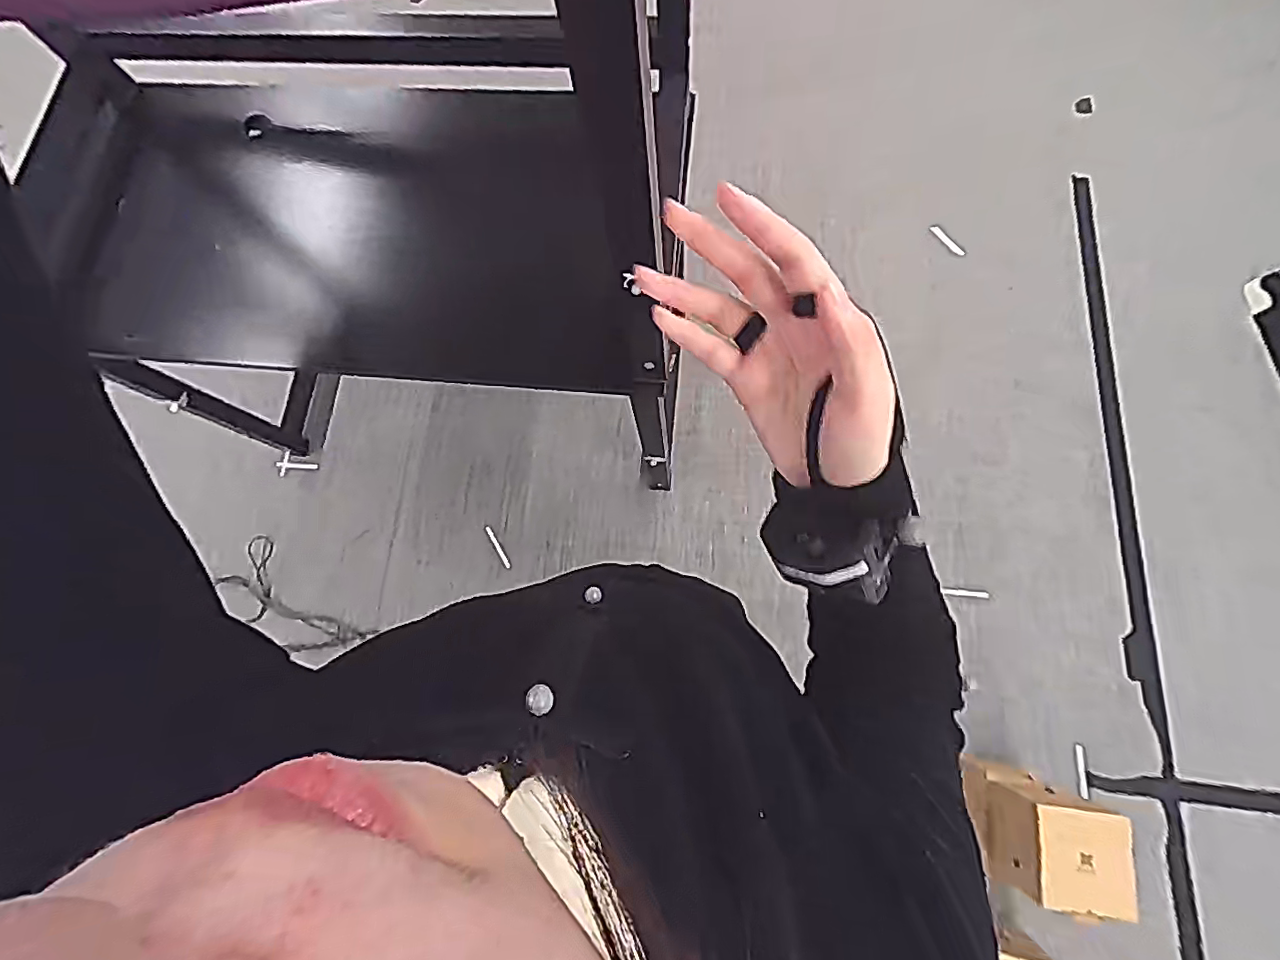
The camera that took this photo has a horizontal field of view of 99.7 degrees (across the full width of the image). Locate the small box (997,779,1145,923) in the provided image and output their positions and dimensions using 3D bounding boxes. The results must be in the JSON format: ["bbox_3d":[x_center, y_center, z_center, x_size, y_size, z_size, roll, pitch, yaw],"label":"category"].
[{"bbox_3d":[0.837,0.720,1.070,0.168,0.176,0.179,6,76,5],"label":"small box"}]

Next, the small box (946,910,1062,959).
[{"bbox_3d":[0.779,1.068,1.158,0.179,0.176,0.168,10,77,6],"label":"small box"}]

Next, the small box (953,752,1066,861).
[{"bbox_3d":[0.838,0.749,1.231,0.168,0.176,0.179,10,78,7],"label":"small box"}]
